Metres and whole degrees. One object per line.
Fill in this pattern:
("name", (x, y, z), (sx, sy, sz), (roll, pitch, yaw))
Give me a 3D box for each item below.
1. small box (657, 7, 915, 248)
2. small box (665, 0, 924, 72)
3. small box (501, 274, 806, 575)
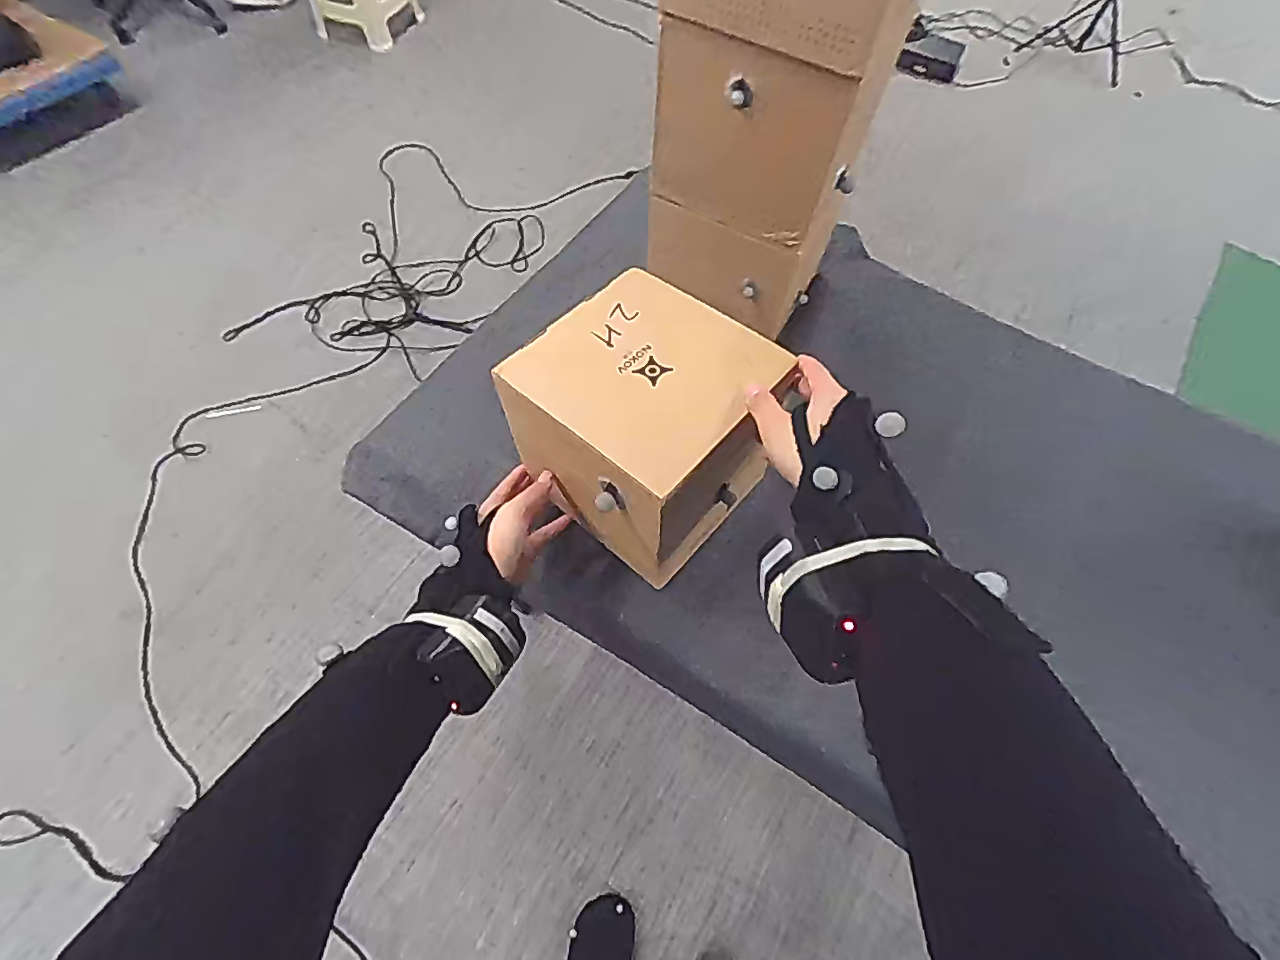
("small box", (0.127, -0.360, 0.519), (0.179, 0.176, 0.168), (27, 68, 10))
("small box", (0.128, -0.423, 0.367), (0.179, 0.176, 0.168), (29, 68, 11))
("small box", (0.012, -0.039, 0.477), (0.179, 0.176, 0.168), (37, 65, 22))
